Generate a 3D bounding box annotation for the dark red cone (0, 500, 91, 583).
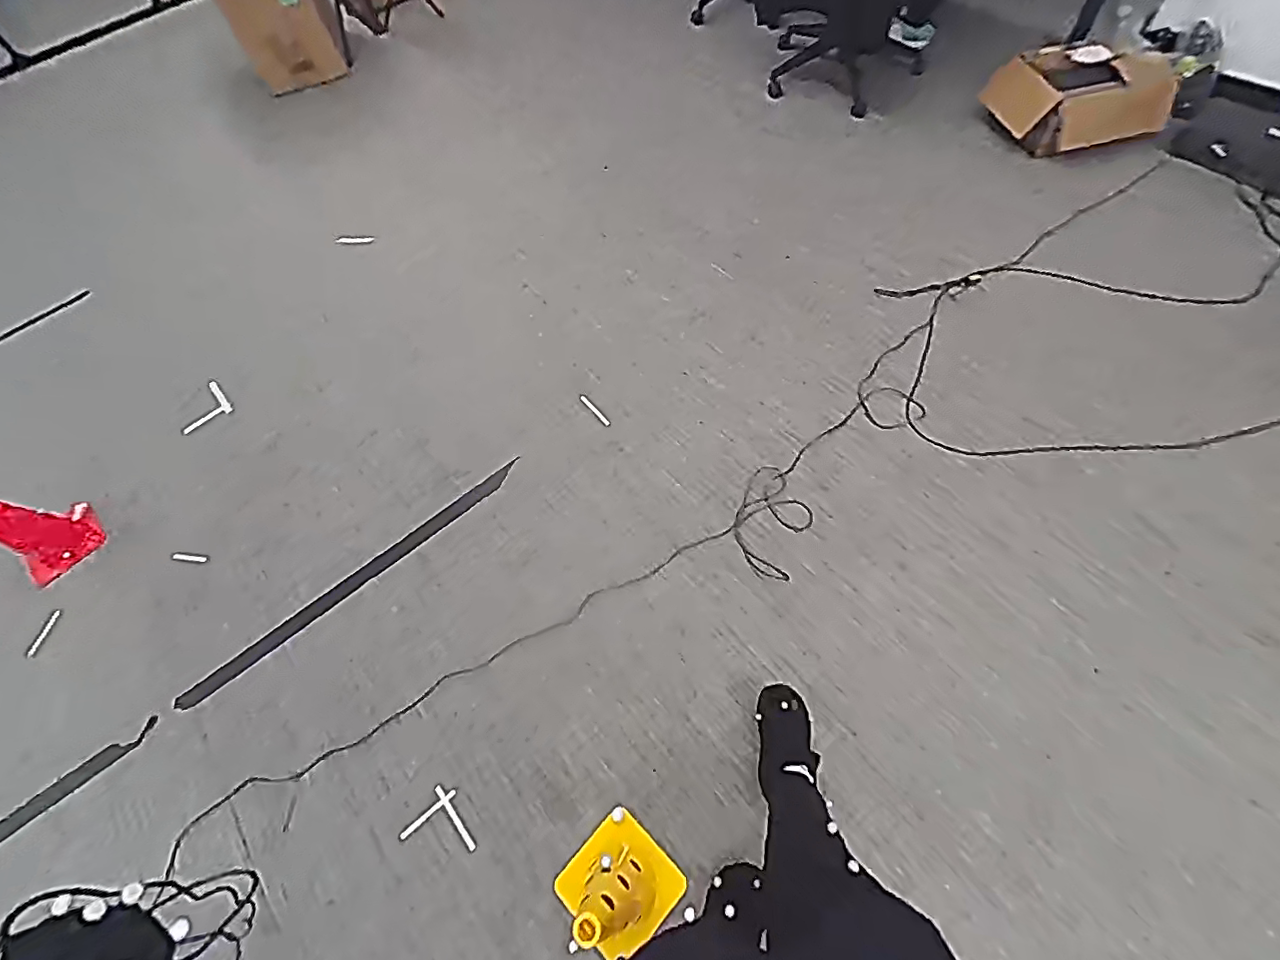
[{"bbox_3d":[-1.716,0.097,1.412,0.201,0.394,0.202,38,72,22],"label":"dark red cone"}]
